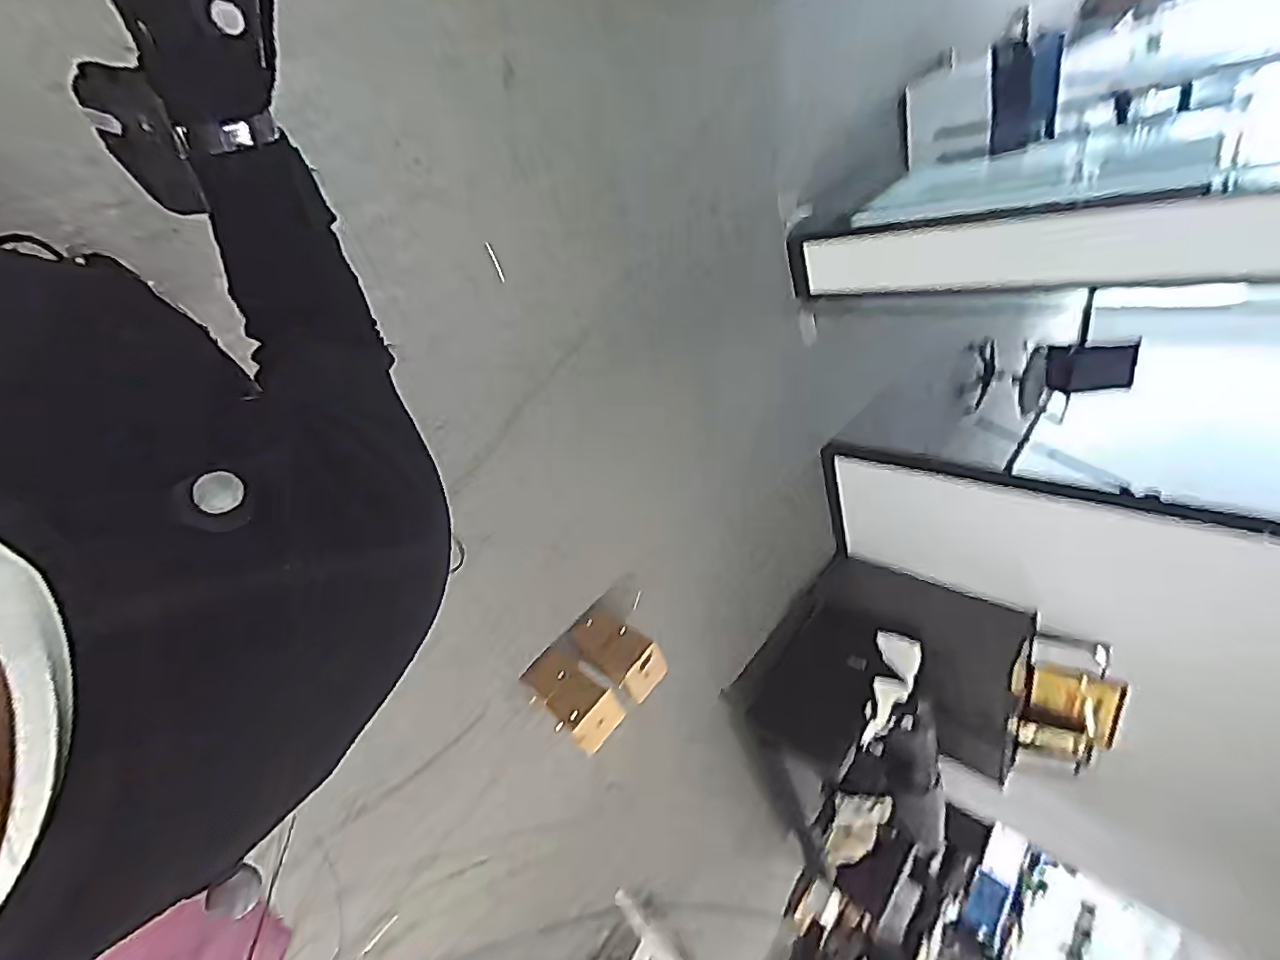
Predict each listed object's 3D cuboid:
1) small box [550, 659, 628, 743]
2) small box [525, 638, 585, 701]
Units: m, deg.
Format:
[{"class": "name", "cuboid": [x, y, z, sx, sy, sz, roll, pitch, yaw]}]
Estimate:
[{"class": "small box", "cuboid": [-0.179, 0.758, 1.872, 0.179, 0.176, 0.168, -44, 129, -26]}, {"class": "small box", "cuboid": [-0.289, 0.715, 1.986, 0.168, 0.176, 0.179, -43, 130, -27]}]
